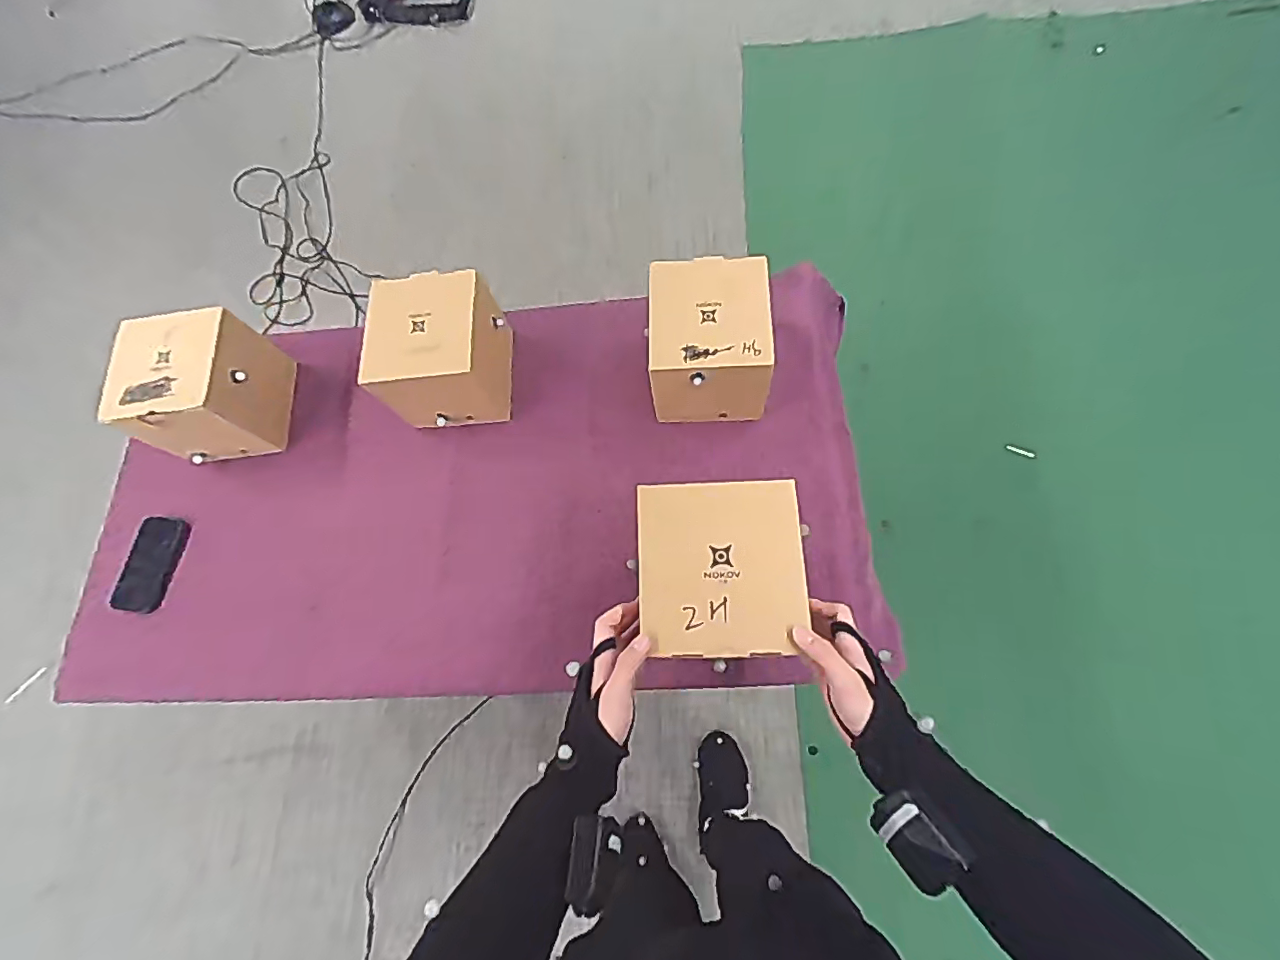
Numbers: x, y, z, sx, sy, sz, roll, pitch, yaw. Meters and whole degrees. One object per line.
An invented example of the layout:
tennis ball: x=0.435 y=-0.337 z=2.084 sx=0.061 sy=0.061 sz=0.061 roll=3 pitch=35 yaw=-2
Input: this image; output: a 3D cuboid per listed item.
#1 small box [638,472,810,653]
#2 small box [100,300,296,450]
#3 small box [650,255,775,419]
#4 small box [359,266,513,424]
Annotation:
small box: x=0.085 y=0.101 z=0.614 sx=0.168 sy=0.176 sz=0.179 roll=-2 pitch=71 yaw=5
small box: x=-0.690 y=-0.157 z=0.869 sx=0.168 sy=0.176 sz=0.179 roll=-6 pitch=70 yaw=3
small box: x=0.104 y=-0.205 z=0.806 sx=0.168 sy=0.176 sz=0.179 roll=-1 pitch=71 yaw=7
small box: x=-0.305 y=-0.204 z=0.848 sx=0.168 sy=0.176 sz=0.179 roll=-4 pitch=71 yaw=5
